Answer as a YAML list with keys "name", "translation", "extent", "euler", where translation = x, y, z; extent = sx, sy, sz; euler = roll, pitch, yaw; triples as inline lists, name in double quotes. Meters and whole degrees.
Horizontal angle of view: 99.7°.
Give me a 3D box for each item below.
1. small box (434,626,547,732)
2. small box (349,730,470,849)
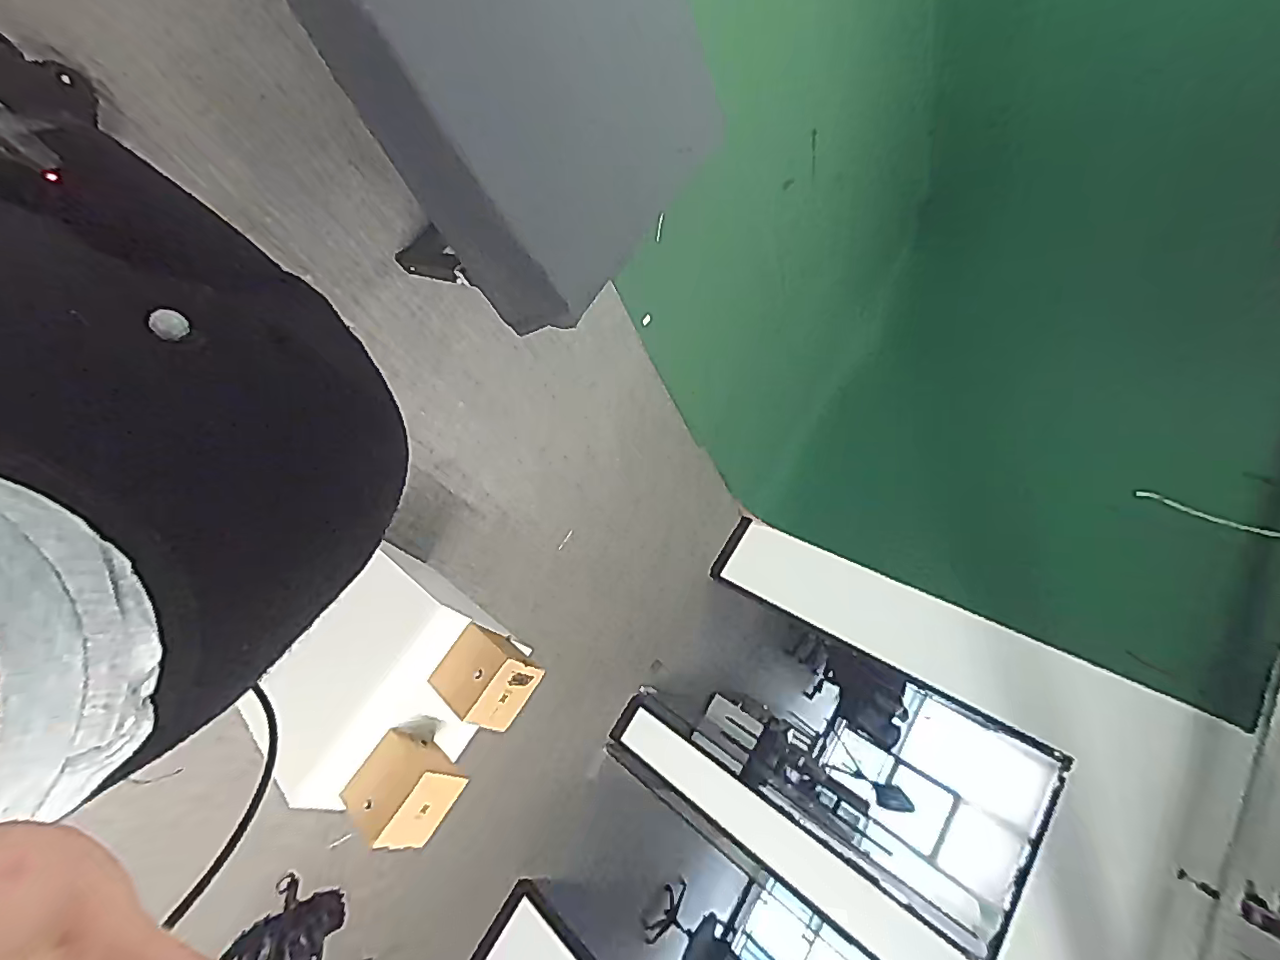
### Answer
- name: "small box"
  translation: [-0.375, 0.492, 1.347]
  extent: [0.179, 0.176, 0.168]
  euler: [-55, 143, -12]
- name: "small box"
  translation: [-0.545, 0.725, 1.269]
  extent: [0.179, 0.176, 0.168]
  euler: [-56, 144, -16]
